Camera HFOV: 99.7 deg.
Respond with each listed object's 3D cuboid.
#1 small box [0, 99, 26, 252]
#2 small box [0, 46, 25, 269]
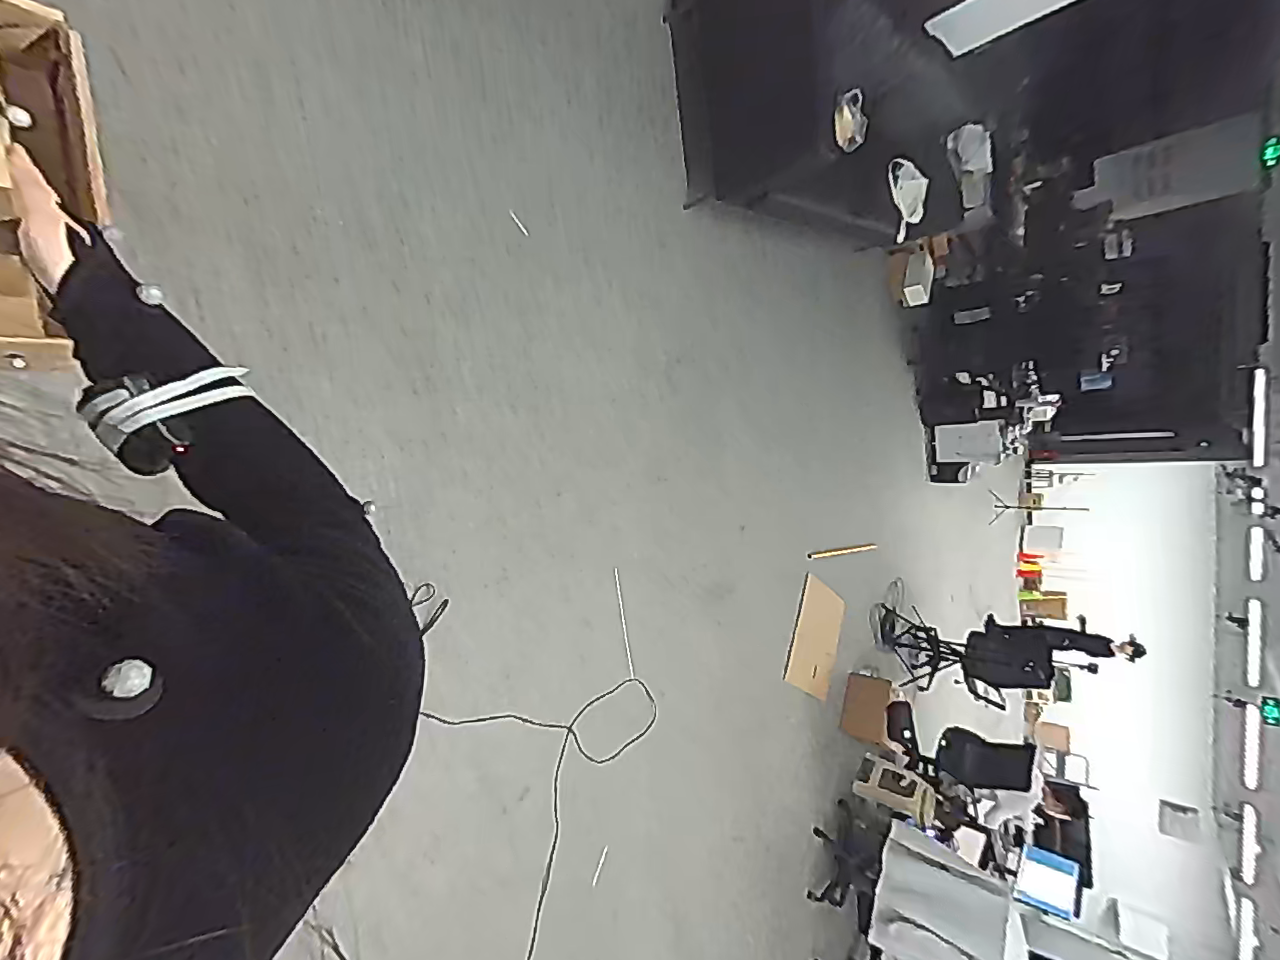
[{"bbox_3d":[-0.494,-0.238,0.306,0.179,0.176,0.168,-13,101,-43],"label":"small box"},{"bbox_3d":[-0.687,-0.312,0.485,0.168,0.176,0.179,-6,95,-46],"label":"small box"}]
